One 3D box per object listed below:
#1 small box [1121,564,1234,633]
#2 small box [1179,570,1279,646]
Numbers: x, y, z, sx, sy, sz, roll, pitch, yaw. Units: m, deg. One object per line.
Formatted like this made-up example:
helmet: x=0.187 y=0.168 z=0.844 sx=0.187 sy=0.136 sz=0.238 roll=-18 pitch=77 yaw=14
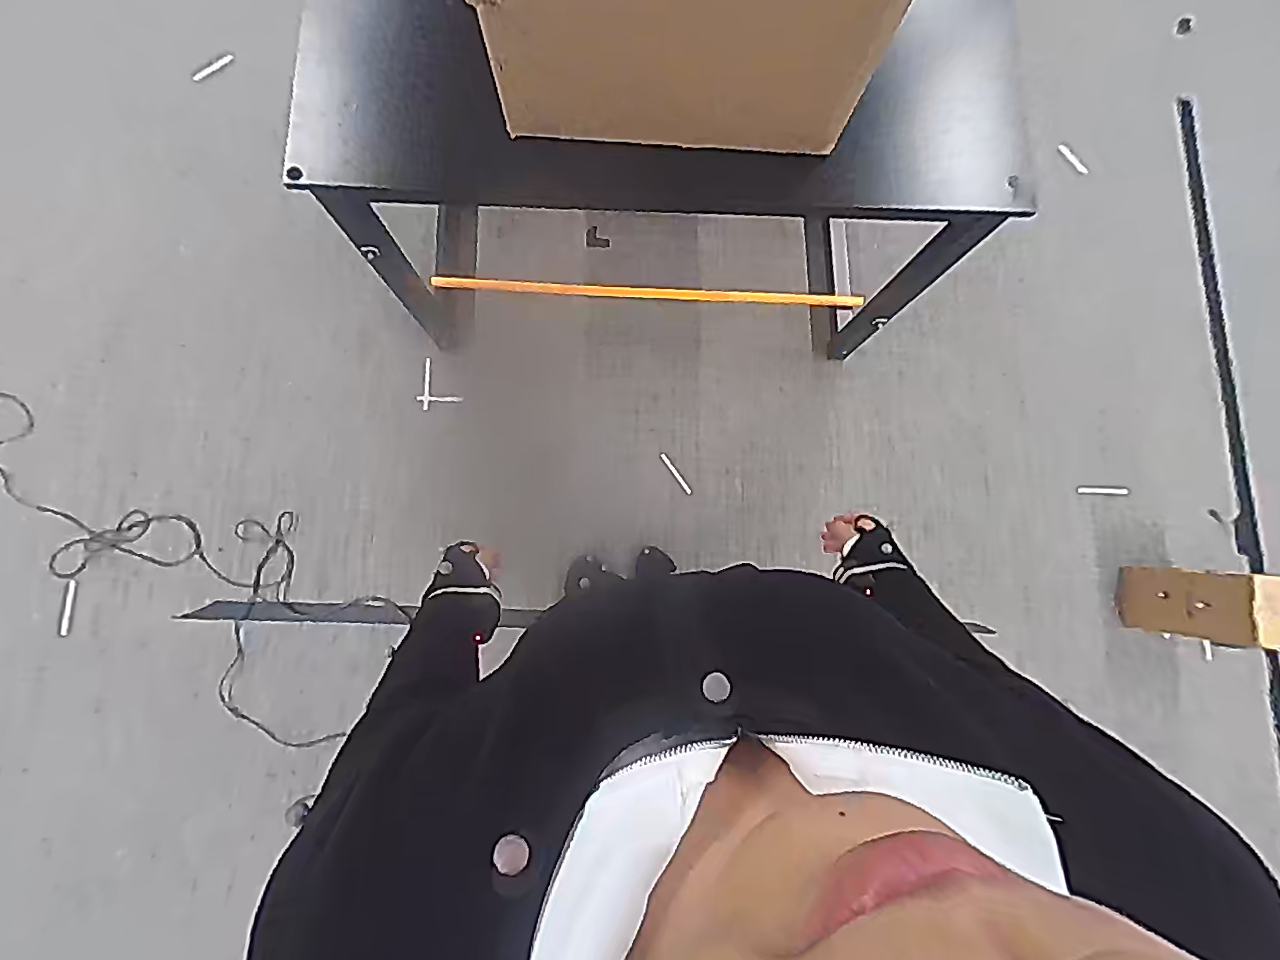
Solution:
small box: x=1.473 y=0.325 z=1.485 sx=0.168 sy=0.176 sz=0.179 roll=5 pitch=83 yaw=-2
small box: x=1.486 y=0.310 z=1.321 sx=0.179 sy=0.176 sz=0.168 roll=5 pitch=82 yaw=-2
